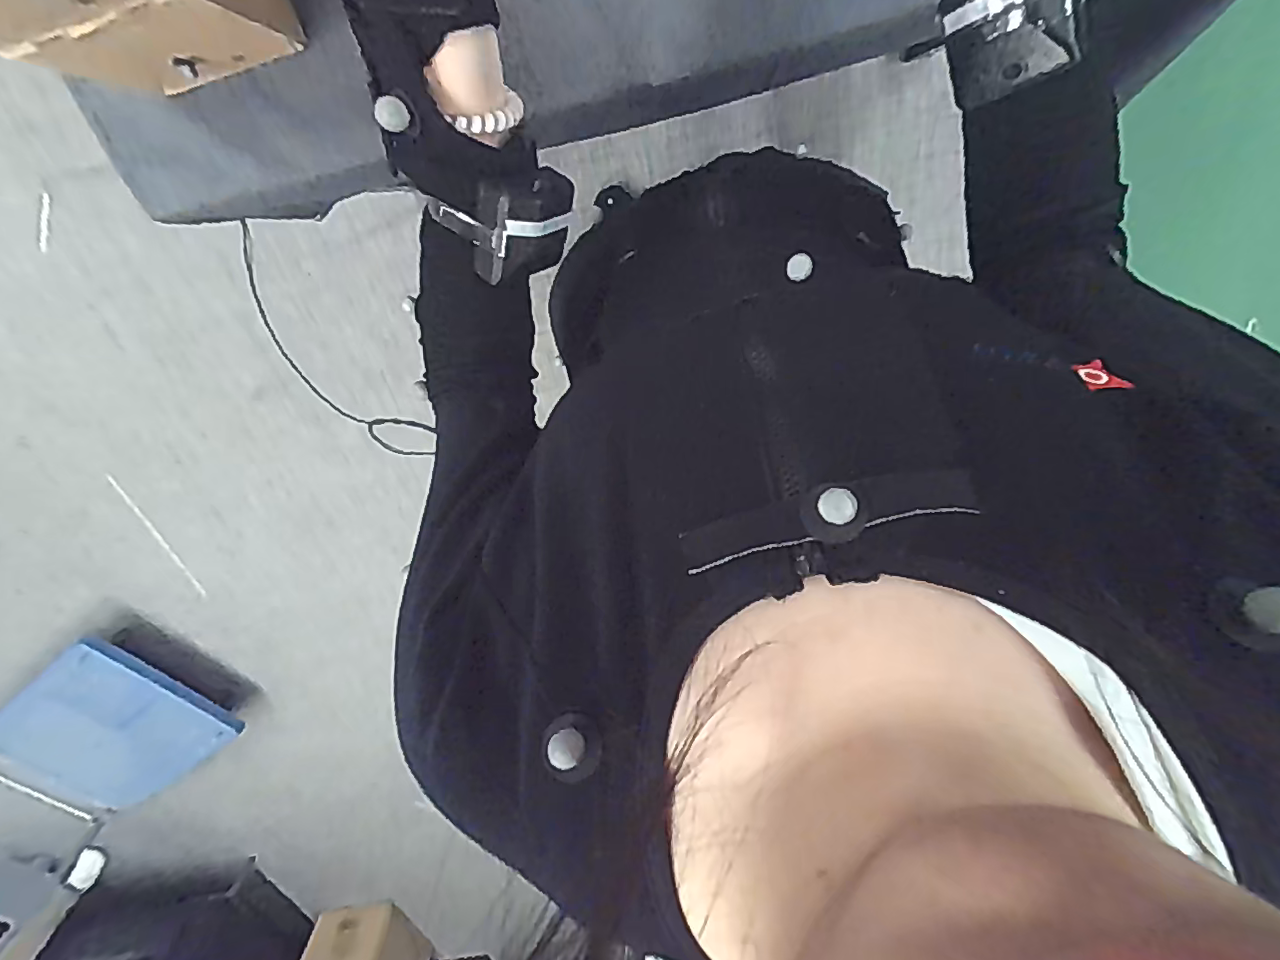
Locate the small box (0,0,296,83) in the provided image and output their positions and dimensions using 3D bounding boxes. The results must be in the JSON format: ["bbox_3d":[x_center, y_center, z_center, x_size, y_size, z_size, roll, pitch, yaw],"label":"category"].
[{"bbox_3d":[-0.430,-0.455,0.432,0.168,0.176,0.179,-13,118,6],"label":"small box"}]
